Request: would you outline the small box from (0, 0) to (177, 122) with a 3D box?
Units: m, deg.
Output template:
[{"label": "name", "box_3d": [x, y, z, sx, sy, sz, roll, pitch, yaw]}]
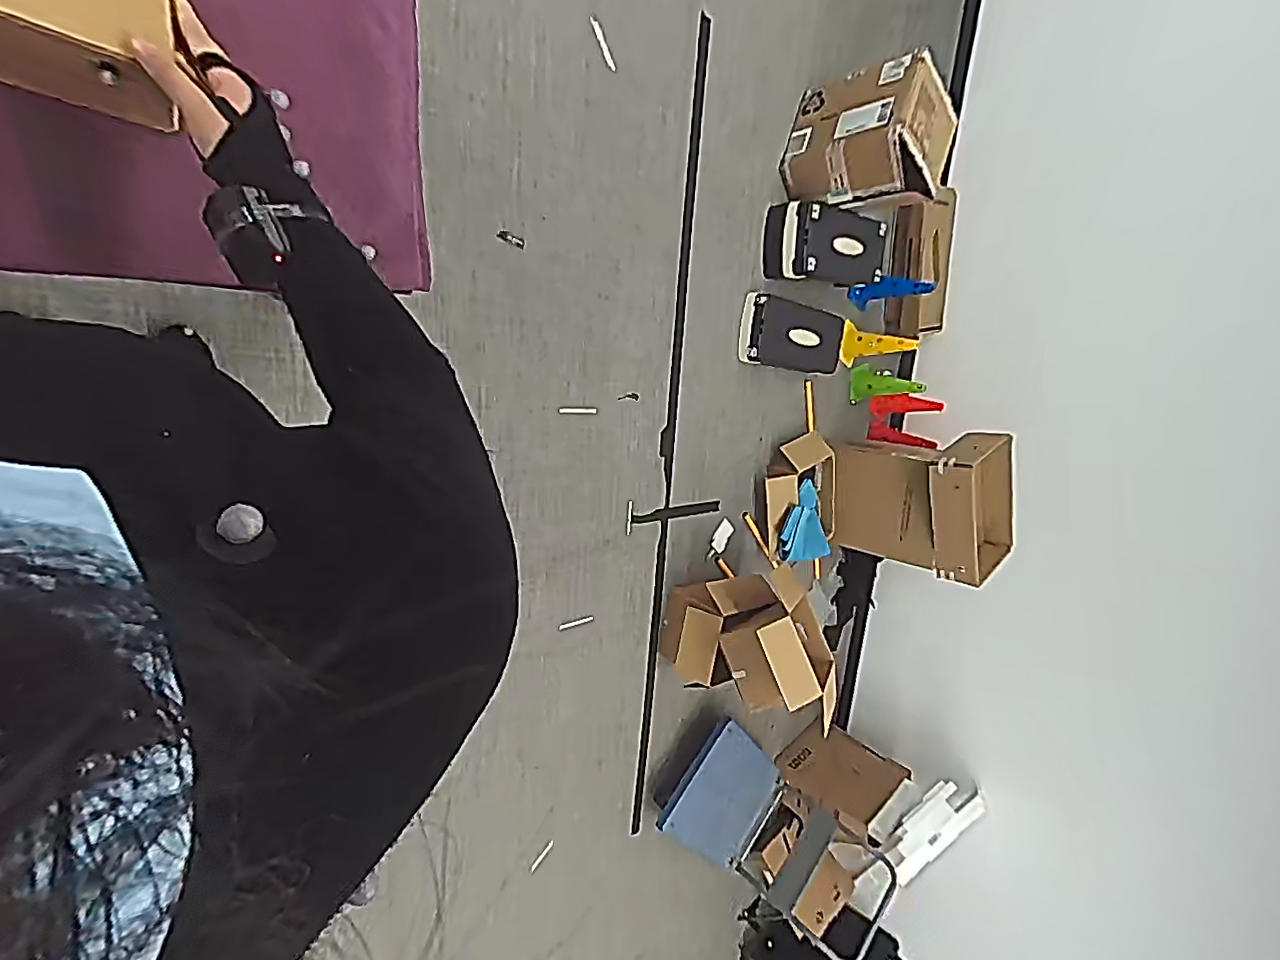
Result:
[{"label": "small box", "box_3d": [-0.475, -0.413, 0.417, 0.179, 0.176, 0.168, -2, 103, -42]}]
